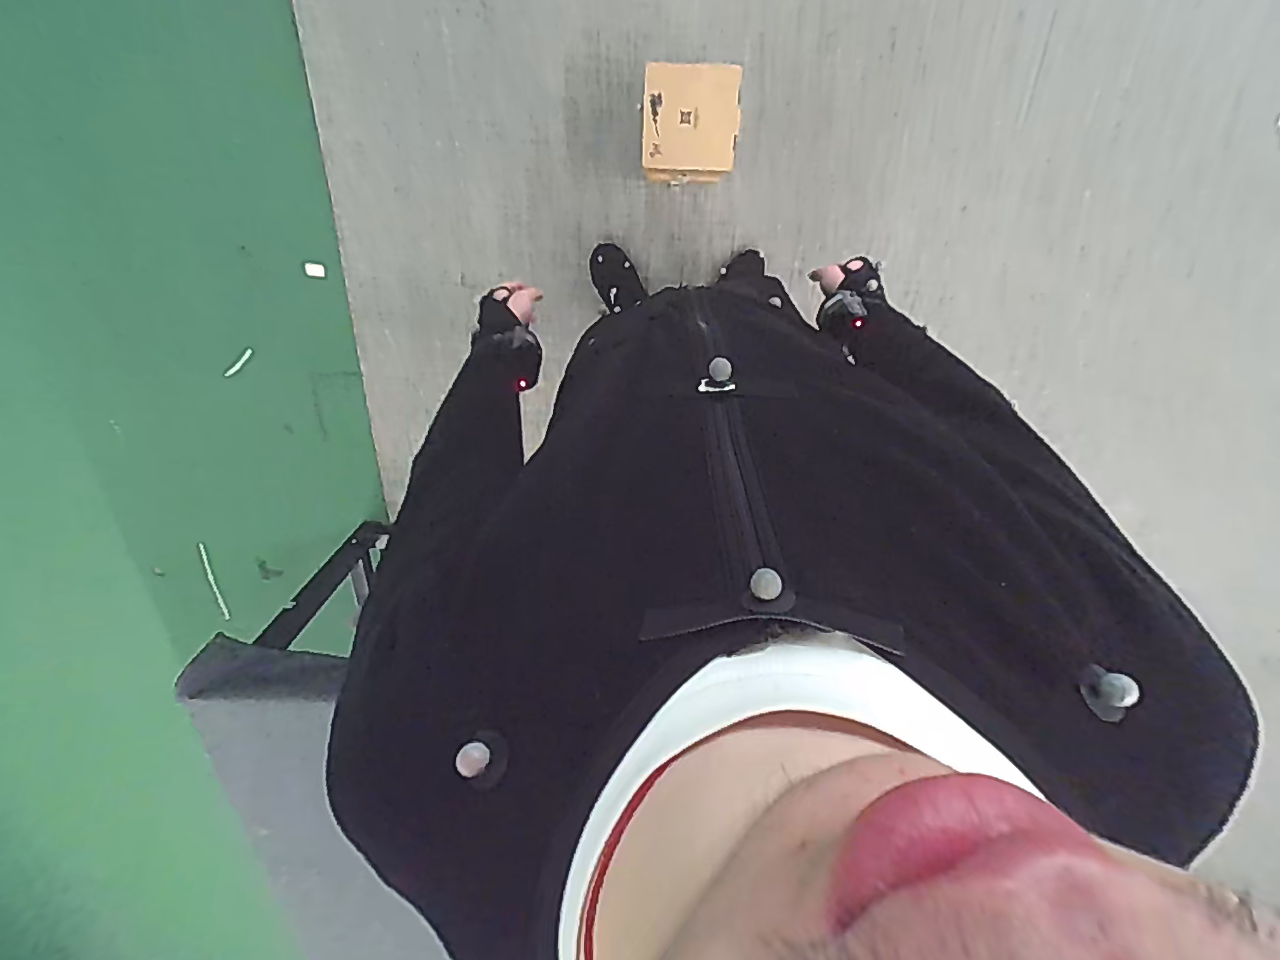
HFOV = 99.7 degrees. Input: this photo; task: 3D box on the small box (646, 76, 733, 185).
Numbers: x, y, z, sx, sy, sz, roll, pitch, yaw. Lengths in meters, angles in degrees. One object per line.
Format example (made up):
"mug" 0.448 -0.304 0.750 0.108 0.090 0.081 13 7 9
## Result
"small box" 0.103 -0.764 1.197 0.168 0.176 0.179 5 116 1
